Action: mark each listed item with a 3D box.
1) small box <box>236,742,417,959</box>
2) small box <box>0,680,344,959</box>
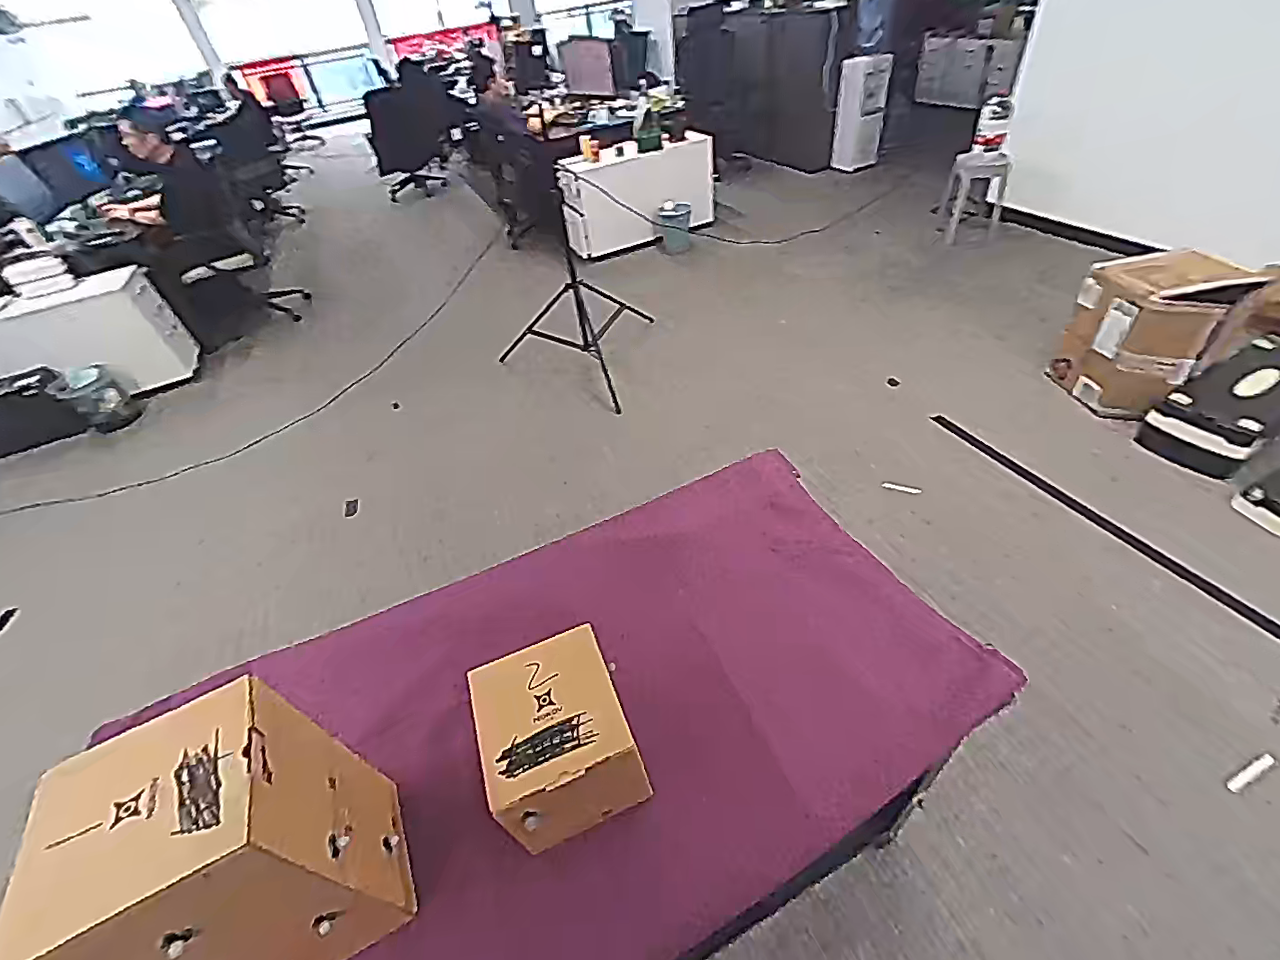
[{"bbox_3d":[-0.384,0.448,0.617,0.179,0.176,0.168,-25,45,-17],"label":"small box"},{"bbox_3d":[-0.400,0.330,0.503,0.179,0.176,0.168,-25,44,-16],"label":"small box"}]
